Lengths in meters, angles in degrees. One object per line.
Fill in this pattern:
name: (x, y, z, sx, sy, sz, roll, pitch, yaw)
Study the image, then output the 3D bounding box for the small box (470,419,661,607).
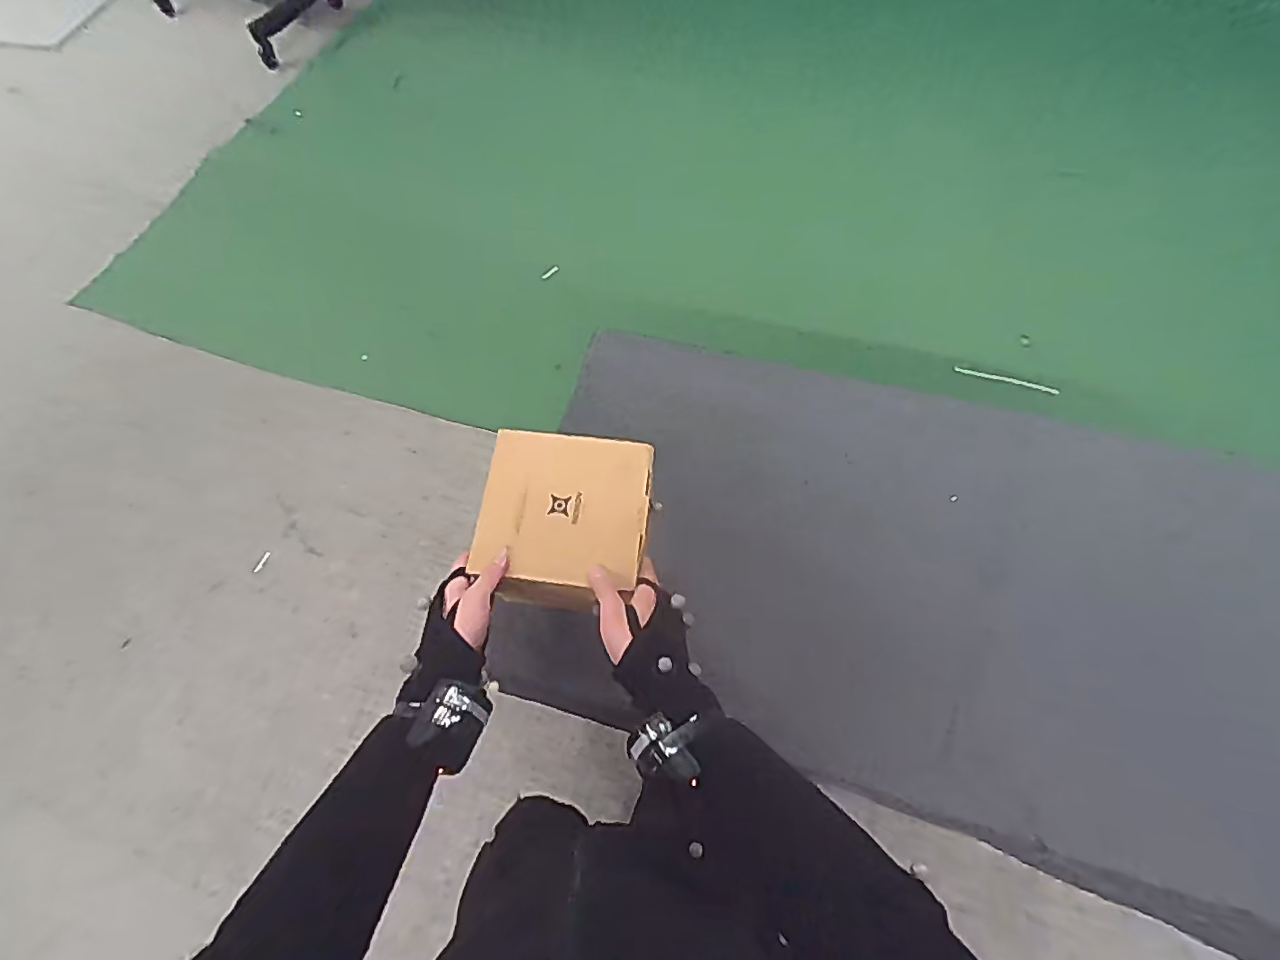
small box: (-0.073, 0.048, 0.632, 0.179, 0.176, 0.168, 6, 66, 3)
